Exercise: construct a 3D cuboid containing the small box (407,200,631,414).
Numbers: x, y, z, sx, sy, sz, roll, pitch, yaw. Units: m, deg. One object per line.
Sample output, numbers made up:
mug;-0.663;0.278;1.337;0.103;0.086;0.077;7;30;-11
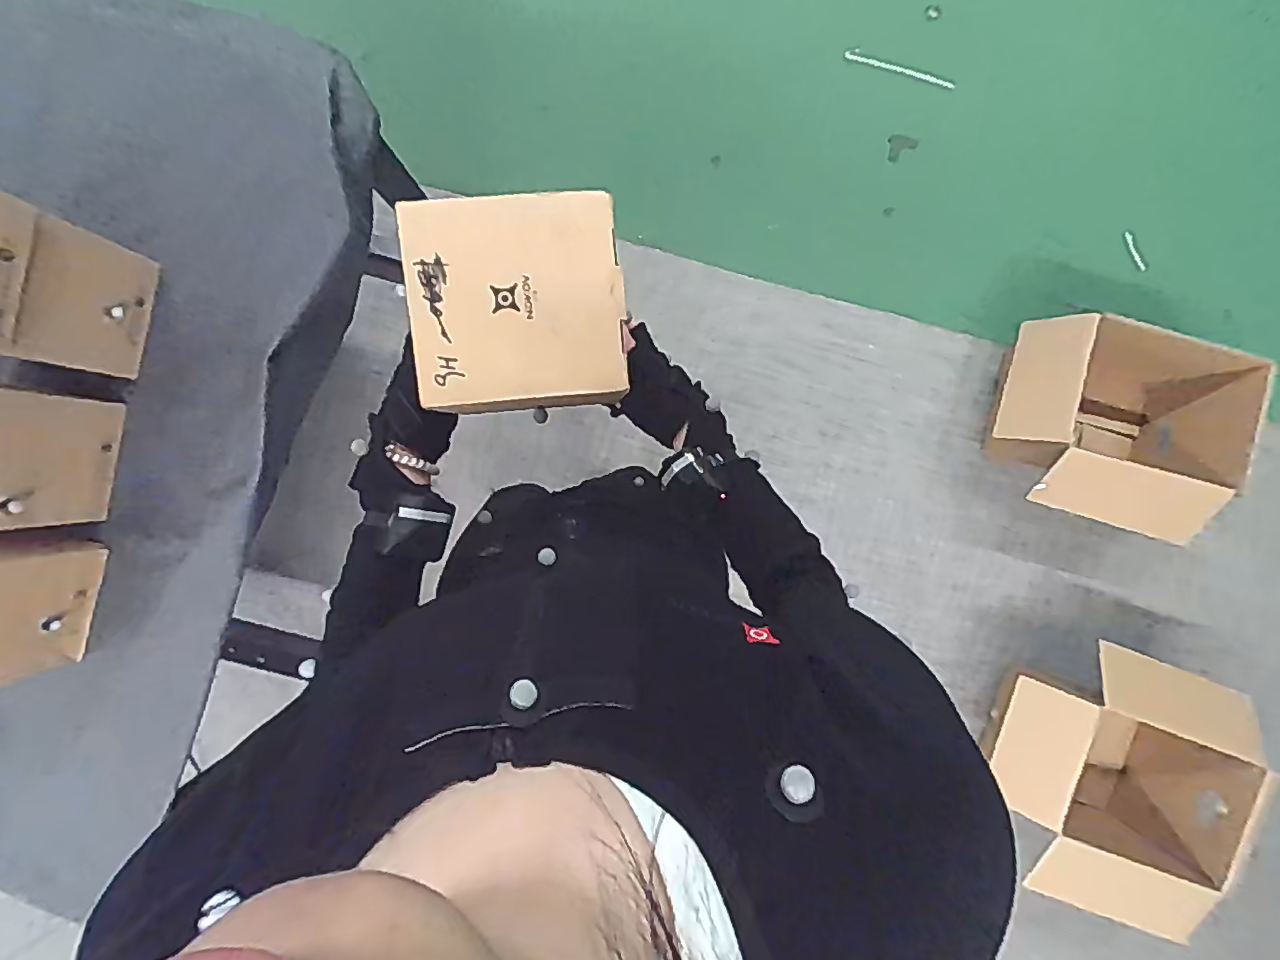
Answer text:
small box;-0.108;-0.155;0.533;0.179;0.176;0.168;-5;94;-6
